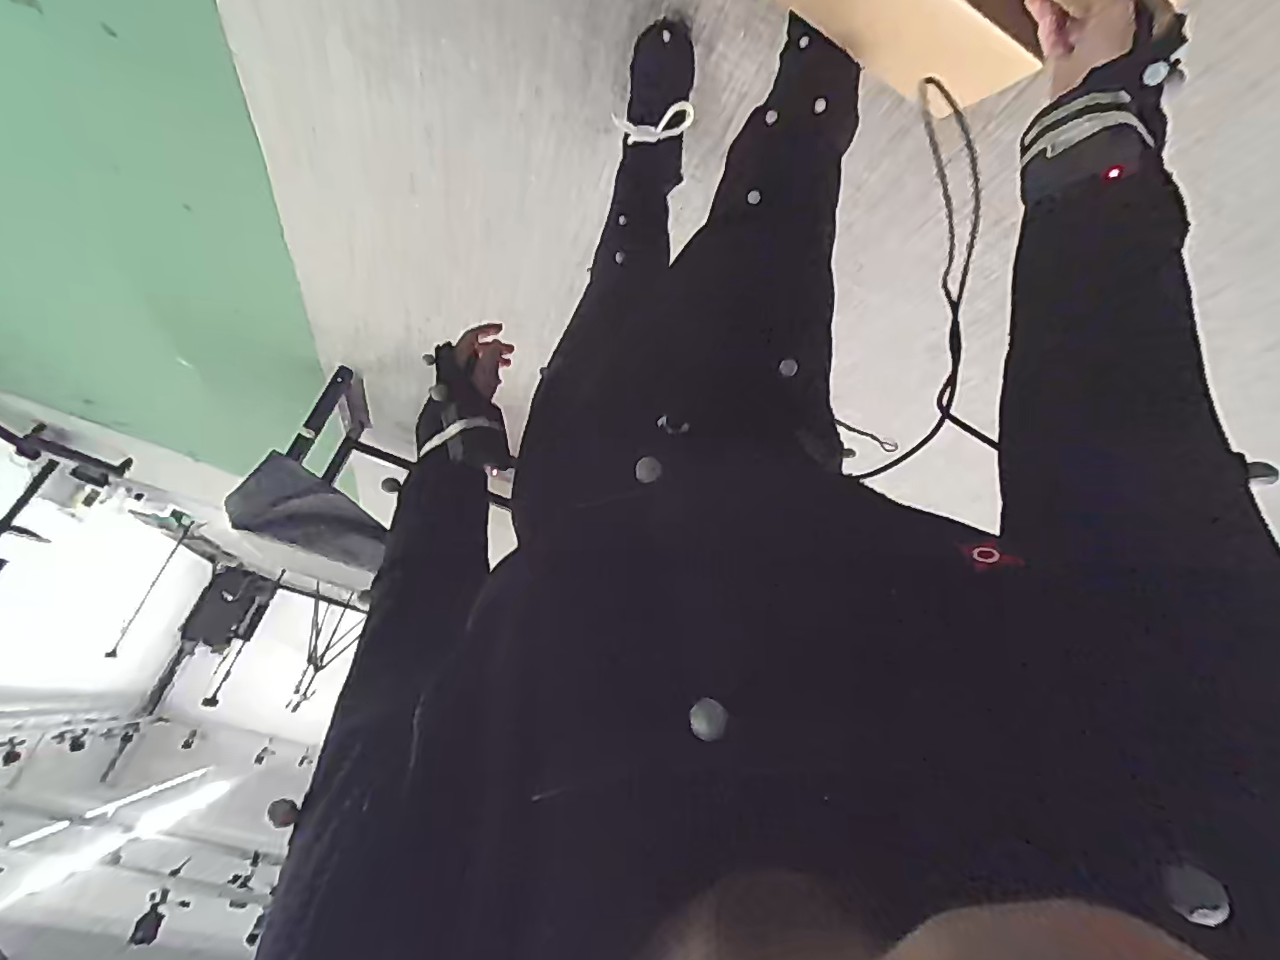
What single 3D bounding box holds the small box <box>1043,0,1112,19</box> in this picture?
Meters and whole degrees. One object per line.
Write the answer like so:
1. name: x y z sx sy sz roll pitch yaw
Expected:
1. small box: 0.316 -0.482 0.384 0.168 0.176 0.179 25 138 -5
